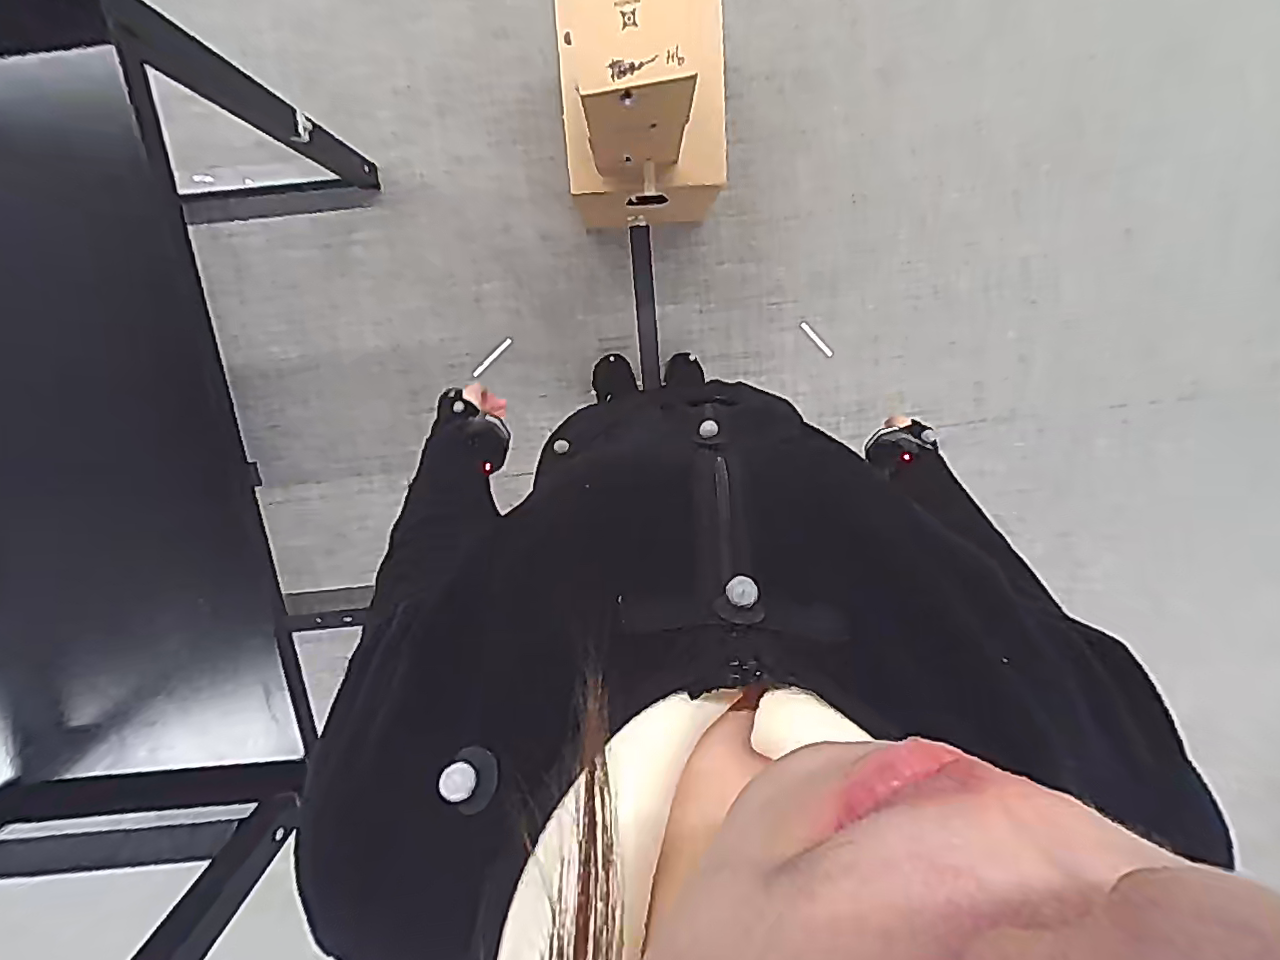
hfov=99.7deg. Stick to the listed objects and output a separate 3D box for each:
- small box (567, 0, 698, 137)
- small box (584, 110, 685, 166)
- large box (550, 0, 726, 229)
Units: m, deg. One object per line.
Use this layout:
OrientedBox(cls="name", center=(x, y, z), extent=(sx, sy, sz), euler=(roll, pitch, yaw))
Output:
OrientedBox(cls="small box", center=(-0.013, -0.636, 0.784), extent=(0.168, 0.176, 0.179), euler=(-8, 102, 3))
OrientedBox(cls="small box", center=(-0.015, -0.676, 0.943), extent=(0.168, 0.176, 0.179), euler=(-5, 104, 1))
OrientedBox(cls="large box", center=(-0.003, -0.799, 1.165), extent=(0.320, 0.320, 0.408), euler=(-4, 103, -1))
